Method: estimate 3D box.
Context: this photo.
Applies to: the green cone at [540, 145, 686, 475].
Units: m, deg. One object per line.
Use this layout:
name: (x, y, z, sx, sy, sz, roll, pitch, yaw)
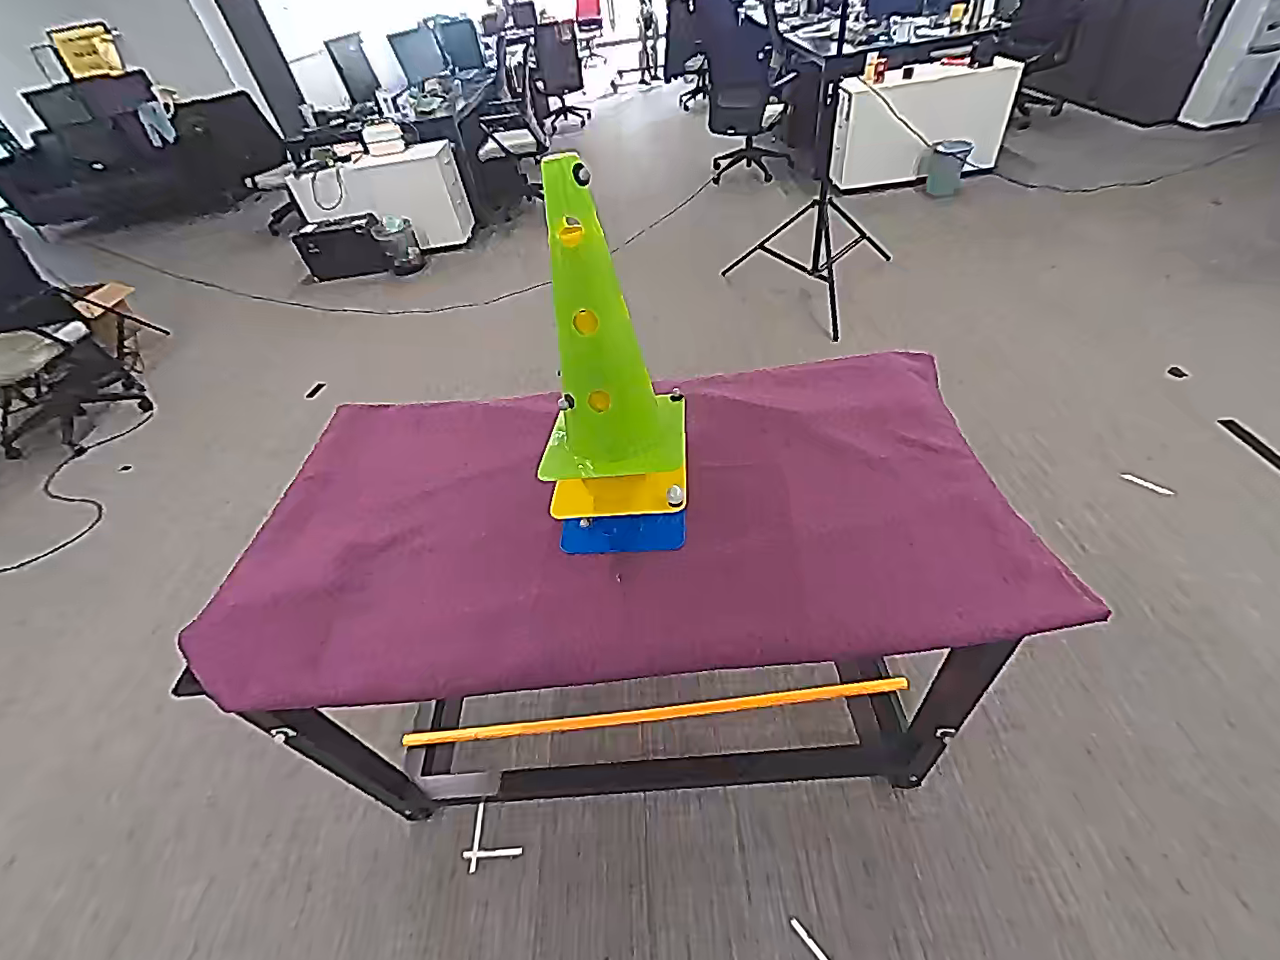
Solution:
green cone: (-0.061, -0.208, 0.679, 0.200, 0.368, 0.202, -5, 38, 8)
